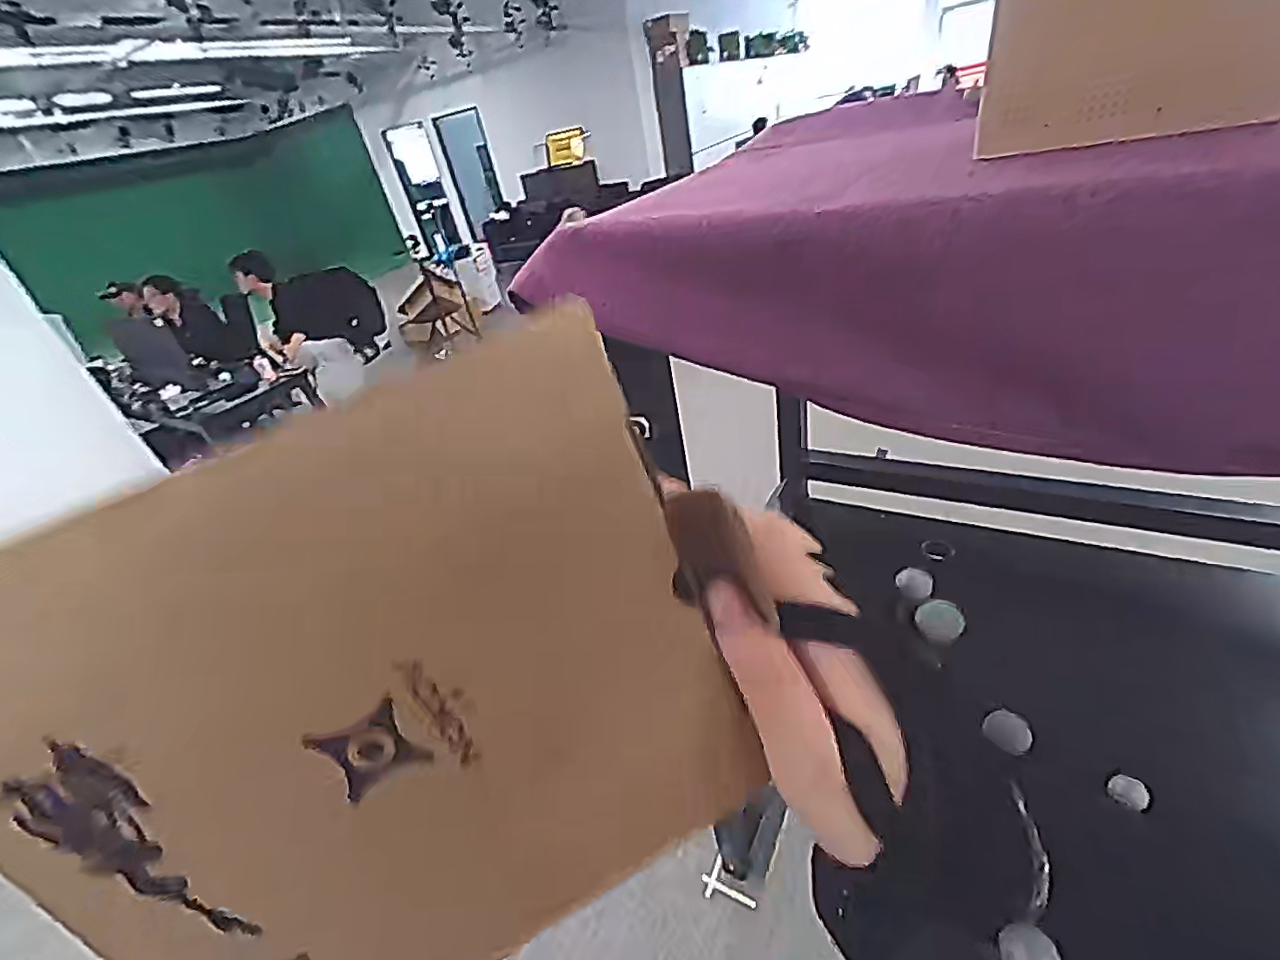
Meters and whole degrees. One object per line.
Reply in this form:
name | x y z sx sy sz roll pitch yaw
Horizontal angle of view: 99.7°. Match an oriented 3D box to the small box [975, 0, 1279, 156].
small box | 0.360 -0.351 0.388 0.179 0.176 0.168 9 39 30
